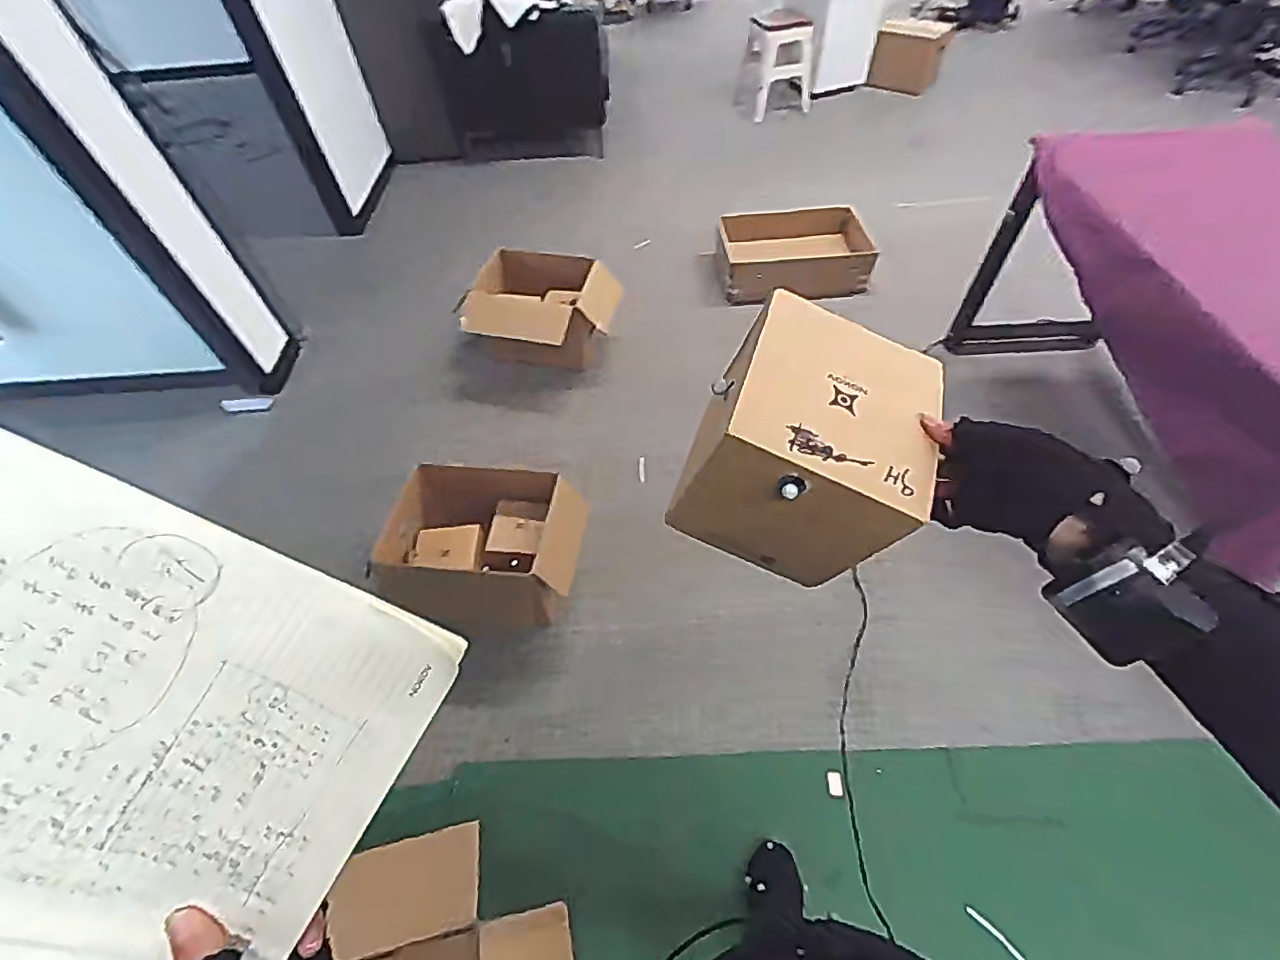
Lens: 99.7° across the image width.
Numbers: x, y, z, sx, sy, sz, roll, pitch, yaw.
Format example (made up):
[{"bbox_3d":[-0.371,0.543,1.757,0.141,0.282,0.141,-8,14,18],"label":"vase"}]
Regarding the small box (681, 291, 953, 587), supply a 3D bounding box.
[{"bbox_3d":[0.154,-0.029,0.499,0.168,0.176,0.179,25,58,-2],"label":"small box"}]
